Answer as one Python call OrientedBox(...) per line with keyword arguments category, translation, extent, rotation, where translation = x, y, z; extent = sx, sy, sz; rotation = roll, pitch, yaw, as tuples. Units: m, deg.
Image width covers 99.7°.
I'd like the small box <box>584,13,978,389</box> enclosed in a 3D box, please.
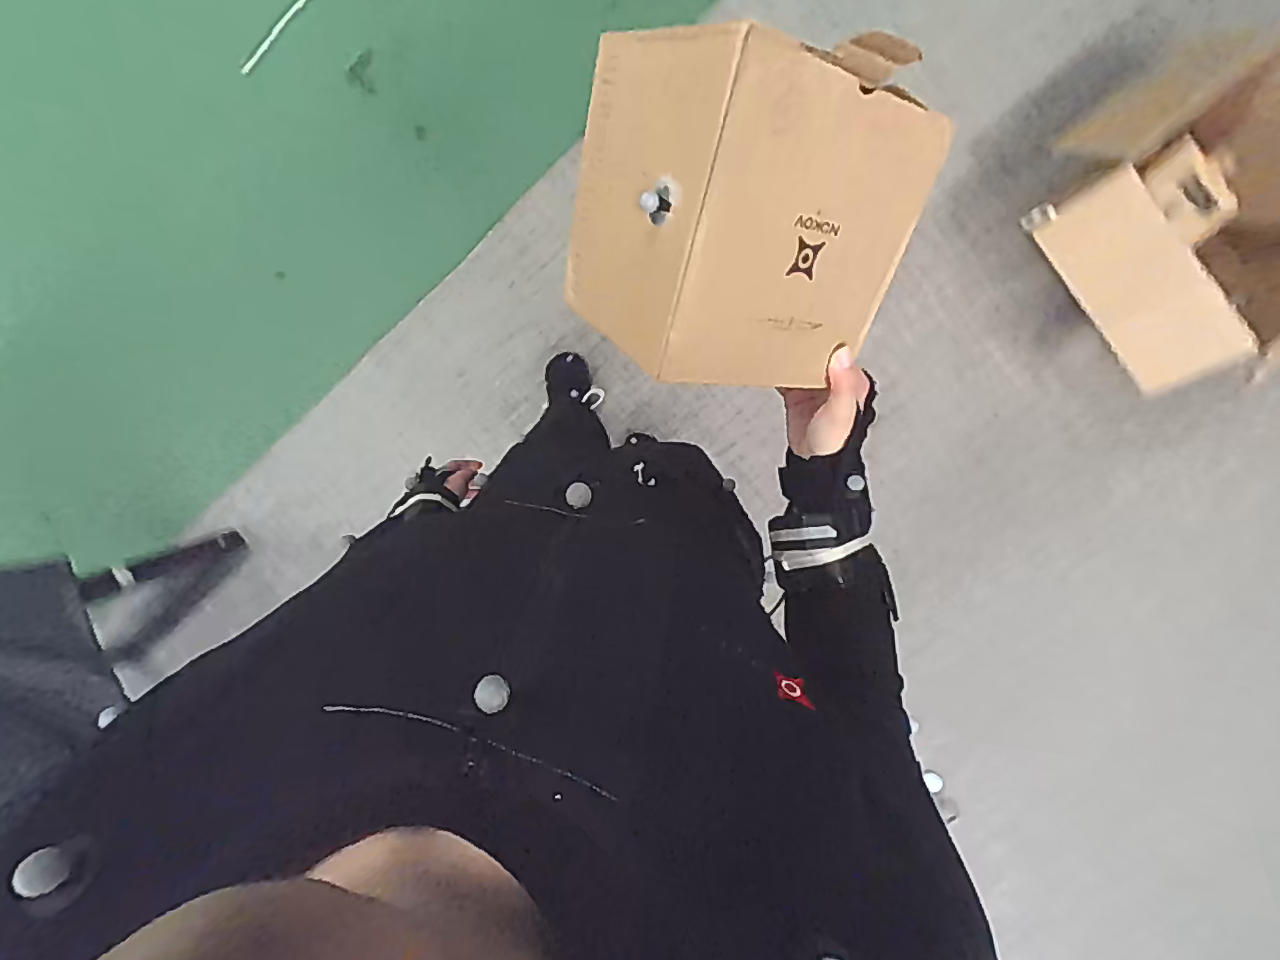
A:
OrientedBox(category="small box", translation=(0.075, -0.181, 0.377), extent=(0.168, 0.176, 0.179), rotation=(-2, 125, -30))
